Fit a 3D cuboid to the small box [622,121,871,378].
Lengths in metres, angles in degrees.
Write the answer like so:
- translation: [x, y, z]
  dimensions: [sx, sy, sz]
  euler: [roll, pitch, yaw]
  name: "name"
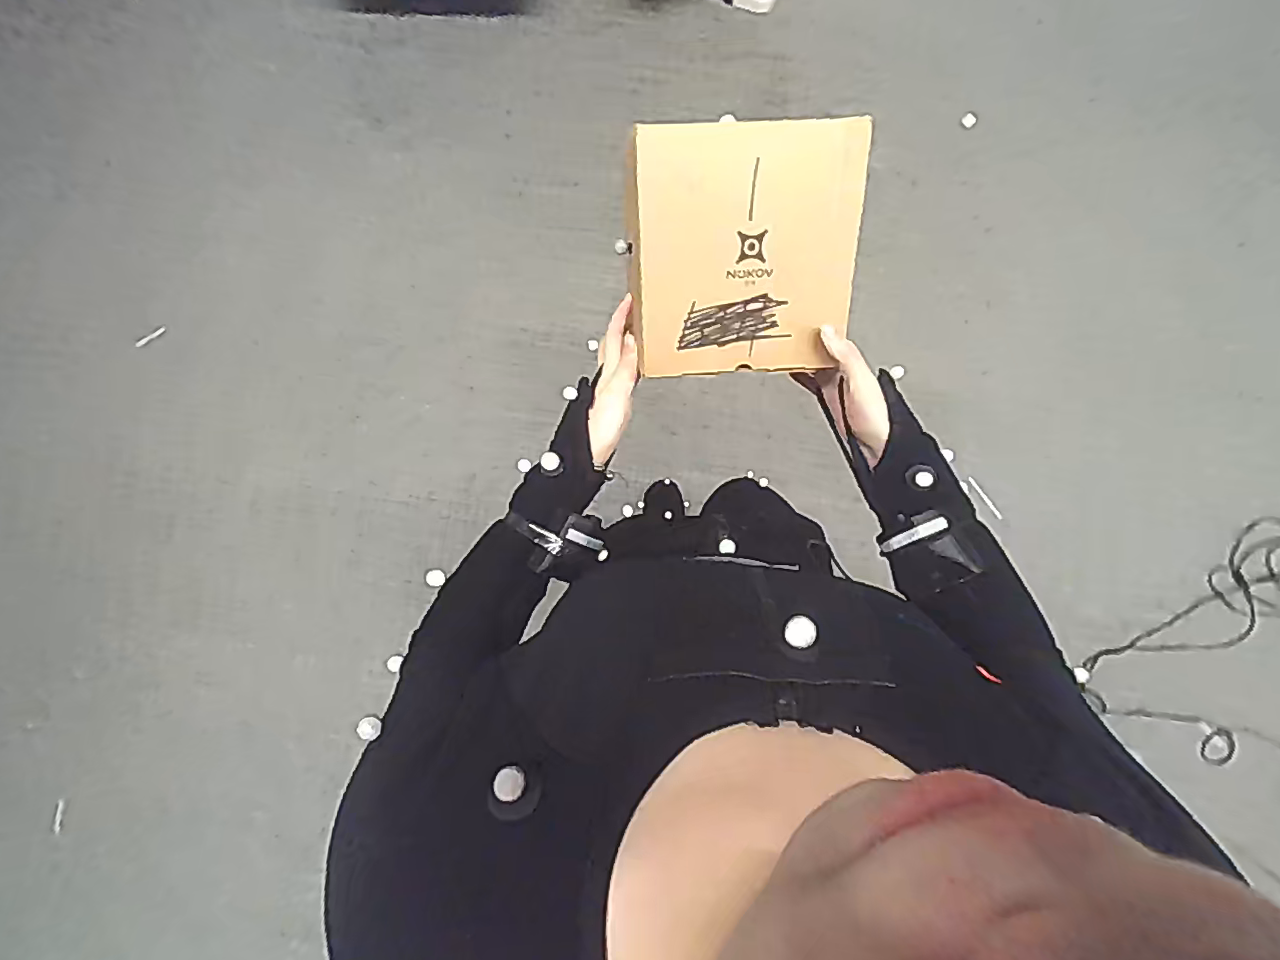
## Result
- translation: [0.073, -0.200, 0.473]
  dimensions: [0.168, 0.176, 0.179]
  euler: [-4, 117, -4]
  name: "small box"
